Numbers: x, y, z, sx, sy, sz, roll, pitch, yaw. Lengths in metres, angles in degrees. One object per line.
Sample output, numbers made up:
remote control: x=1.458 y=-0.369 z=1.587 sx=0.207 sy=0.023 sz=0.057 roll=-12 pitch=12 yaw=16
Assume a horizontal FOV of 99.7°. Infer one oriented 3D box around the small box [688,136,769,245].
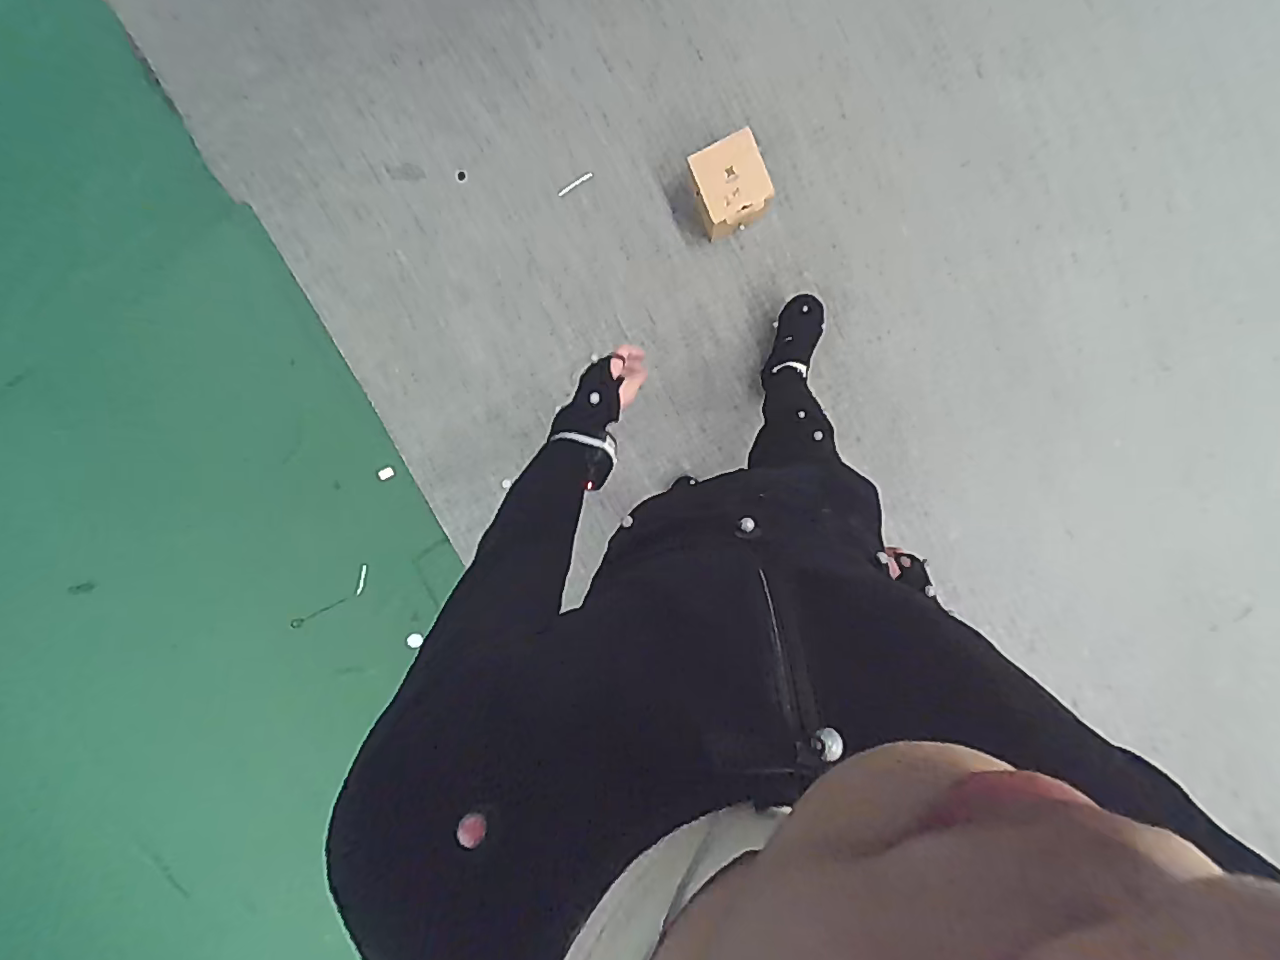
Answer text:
small box: x=0.226 y=-0.742 z=1.406 sx=0.168 sy=0.176 sz=0.179 roll=-16 pitch=98 yaw=10
